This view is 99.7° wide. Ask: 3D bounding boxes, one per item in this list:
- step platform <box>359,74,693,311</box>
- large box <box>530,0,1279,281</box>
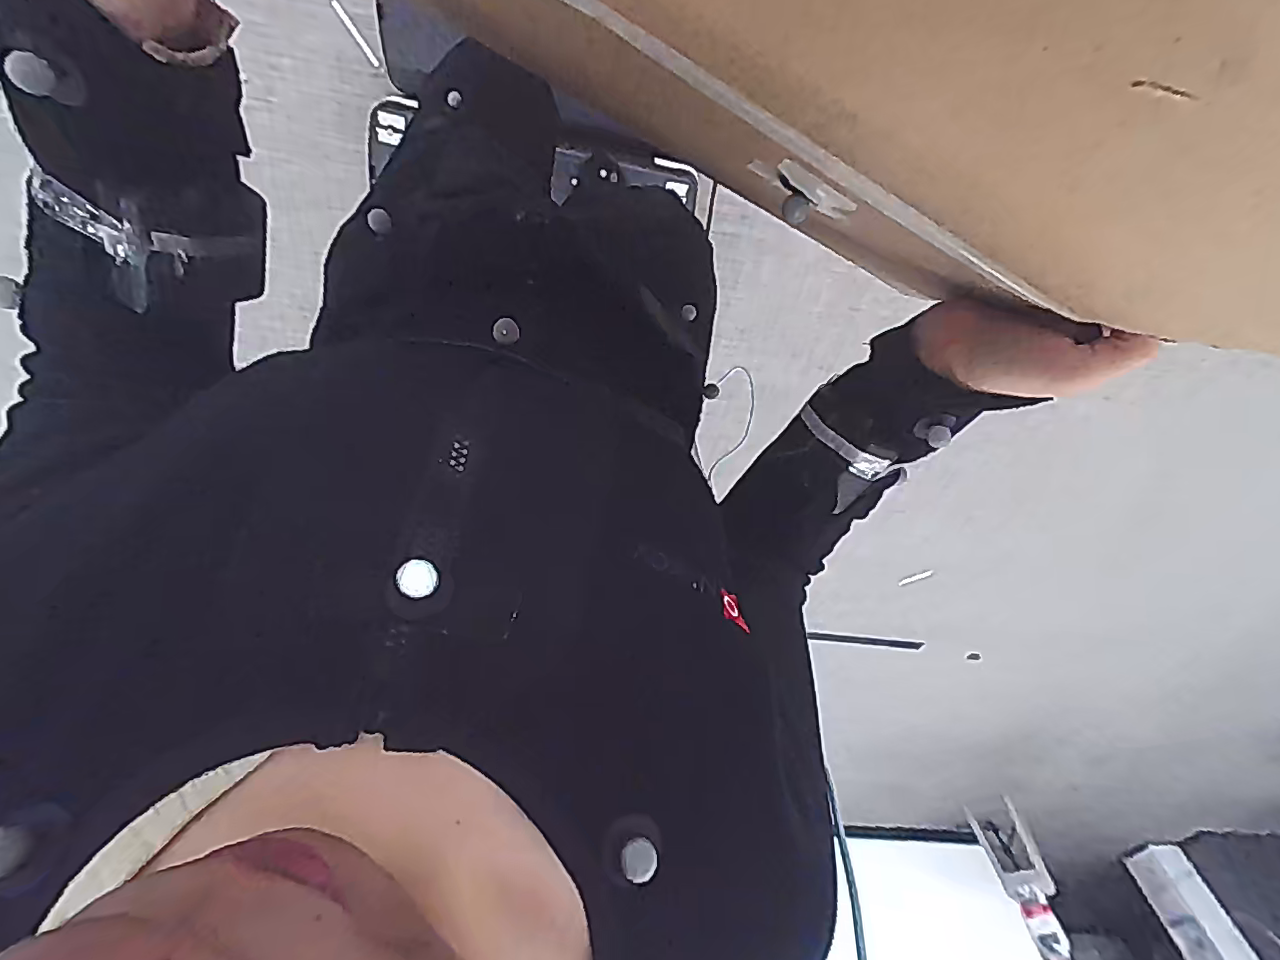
[{"bbox_3d":[-0.233,-0.607,1.180,0.684,0.204,0.286,14,126,-10],"label":"step platform"},{"bbox_3d":[0.106,-0.285,0.118,0.408,0.320,0.320,21,110,-15],"label":"large box"}]
